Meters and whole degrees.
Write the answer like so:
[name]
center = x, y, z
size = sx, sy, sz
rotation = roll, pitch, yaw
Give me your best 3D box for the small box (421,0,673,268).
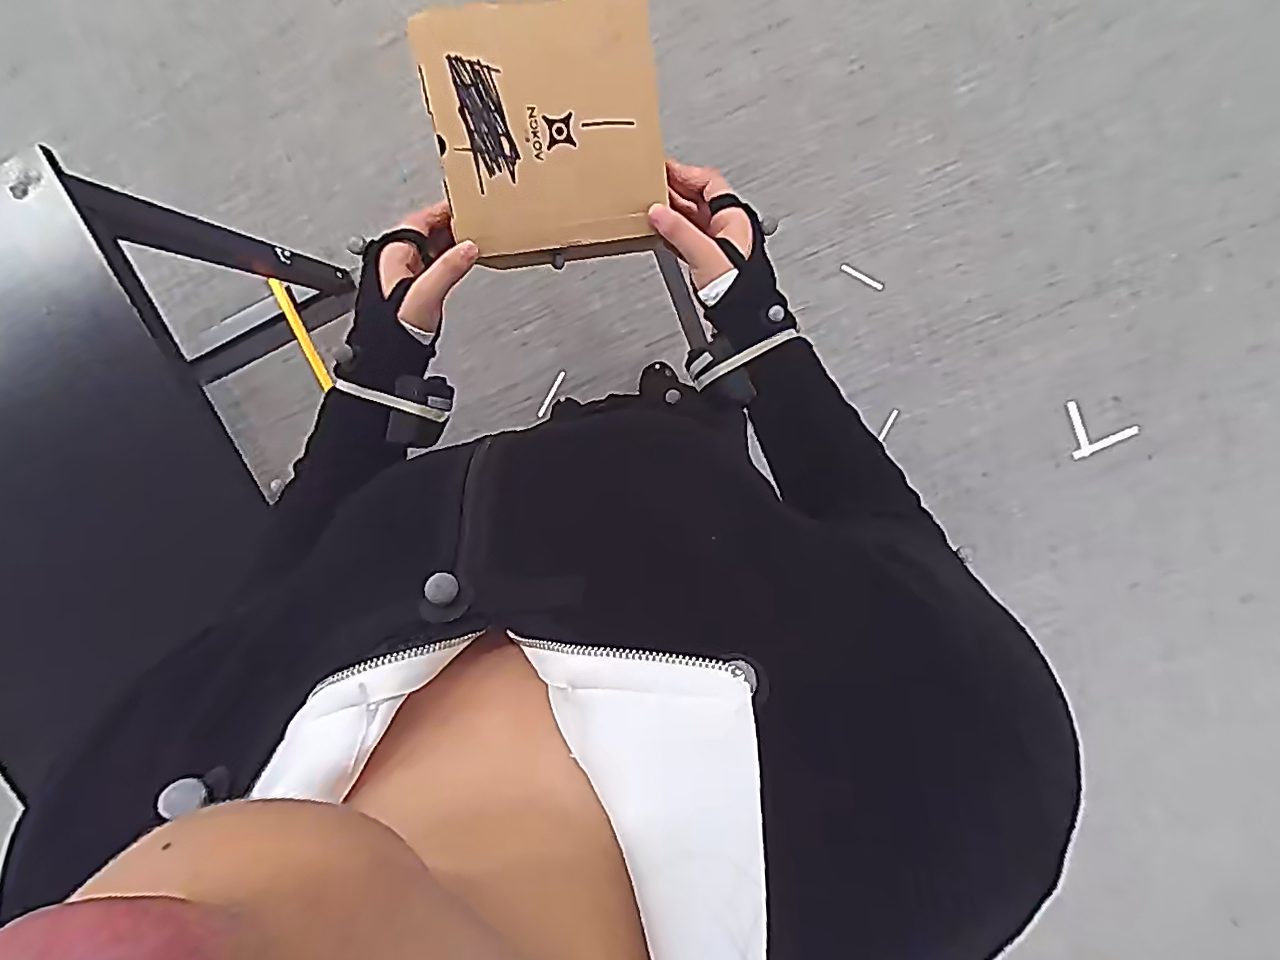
[small box]
center = -0.071, -0.295, 0.496
size = 0.179, 0.176, 0.168
rotation = -8, 109, -1
